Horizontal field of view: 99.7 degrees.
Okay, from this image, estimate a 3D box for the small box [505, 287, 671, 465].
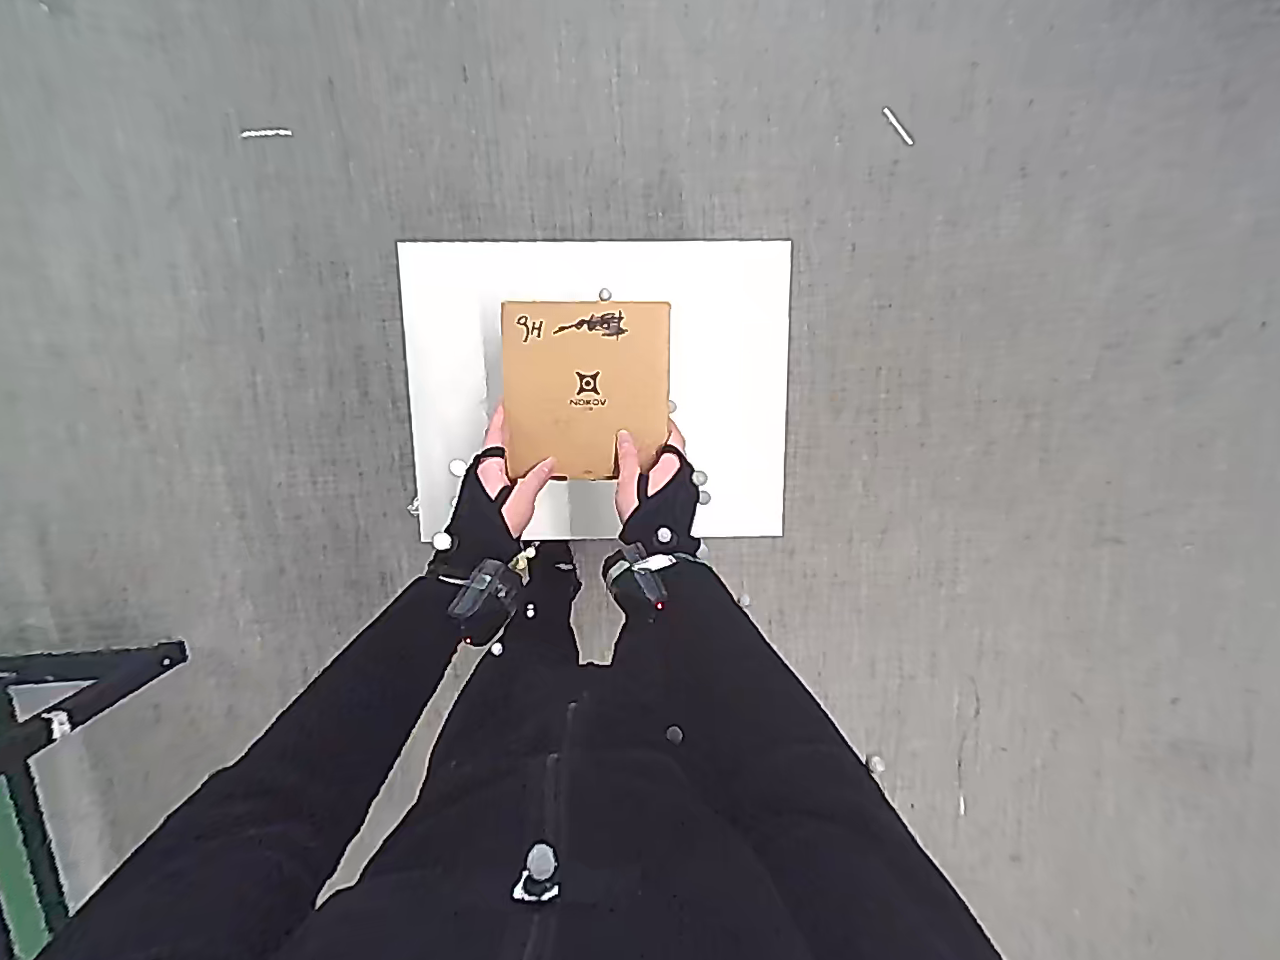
[{"bbox_3d":[-0.050,-0.117,0.624,0.168,0.176,0.179,-2,99,0],"label":"small box"}]
